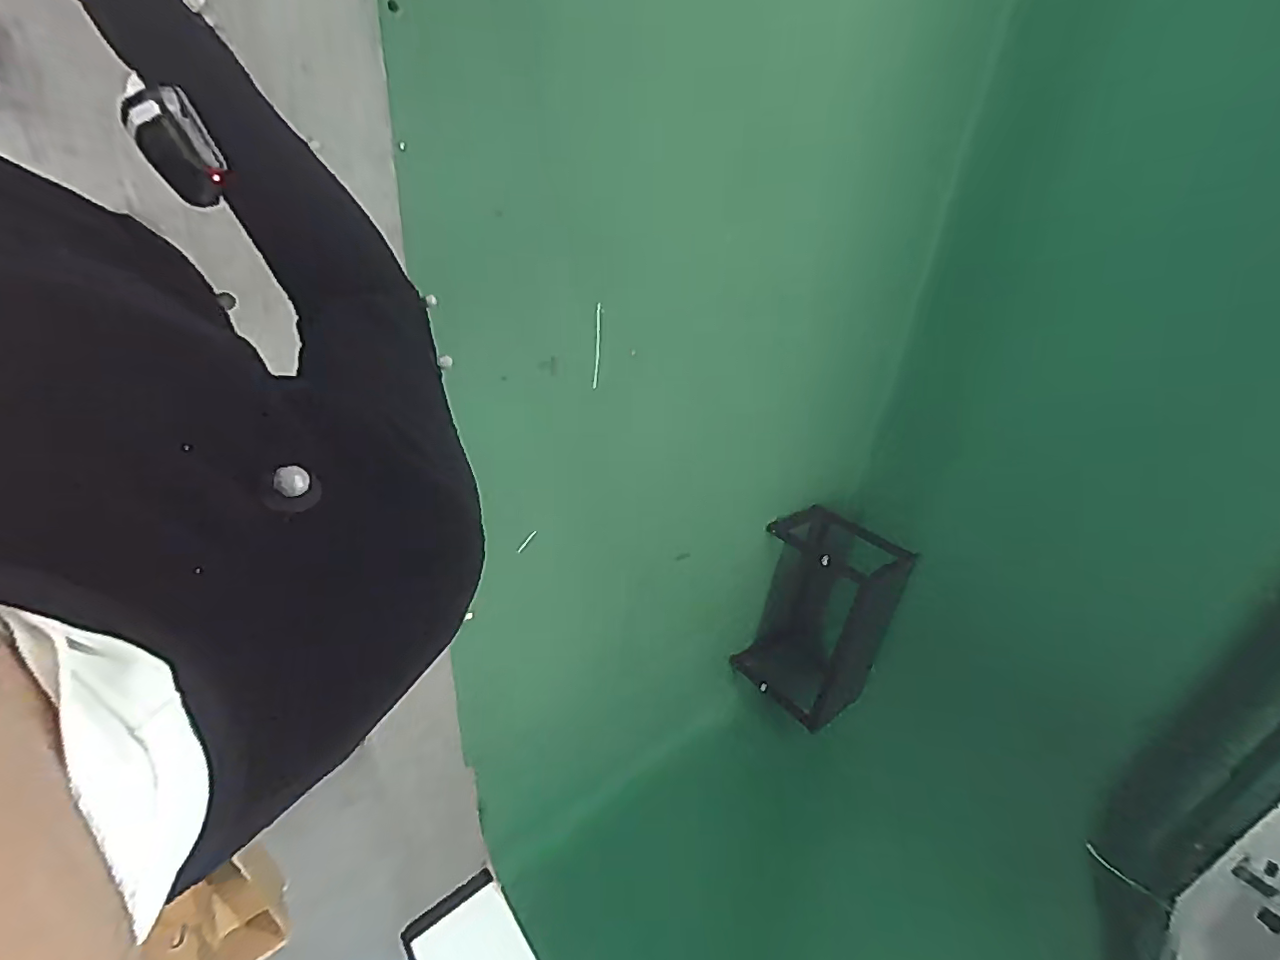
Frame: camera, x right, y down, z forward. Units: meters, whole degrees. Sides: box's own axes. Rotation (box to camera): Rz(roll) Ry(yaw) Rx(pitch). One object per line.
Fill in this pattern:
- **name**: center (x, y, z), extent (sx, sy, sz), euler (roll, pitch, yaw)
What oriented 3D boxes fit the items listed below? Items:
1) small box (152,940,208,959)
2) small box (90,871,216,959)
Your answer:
- **small box**: center (-1.027, 1.144, 1.153), extent (0.168, 0.176, 0.179), euler (-19, 128, -36)
- **small box**: center (-1.131, 1.069, 1.256), extent (0.179, 0.176, 0.168), euler (-21, 129, -35)
